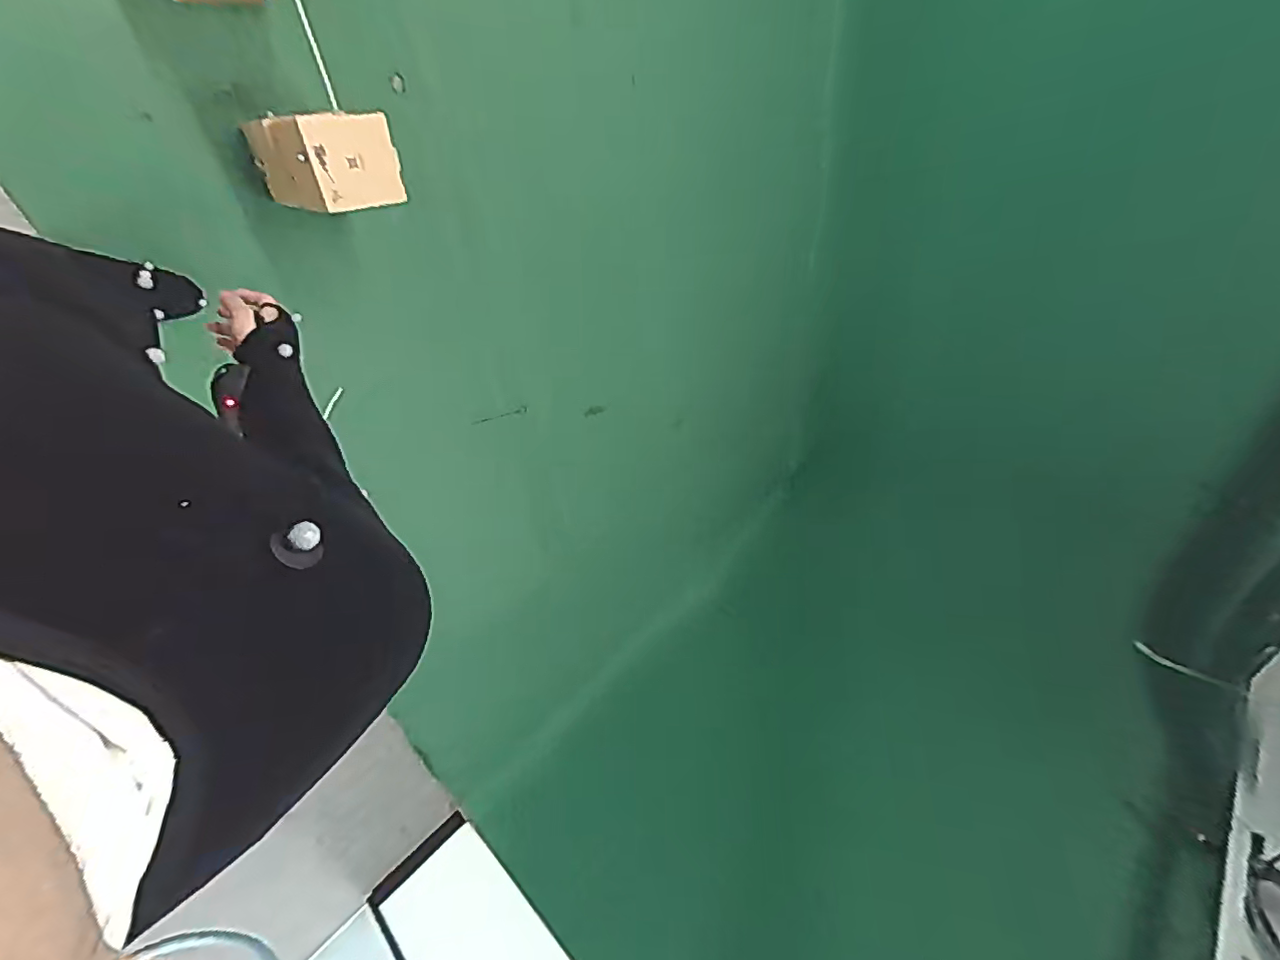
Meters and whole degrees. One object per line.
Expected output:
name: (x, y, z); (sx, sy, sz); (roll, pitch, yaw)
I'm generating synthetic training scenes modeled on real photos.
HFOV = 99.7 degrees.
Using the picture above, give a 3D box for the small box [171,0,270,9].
small box: (-0.818, -1.013, 1.022); (0.179, 0.176, 0.168); (-35, 134, -34)

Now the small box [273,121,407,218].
small box: (-0.640, -0.669, 1.159); (0.179, 0.176, 0.168); (-32, 133, -35)
